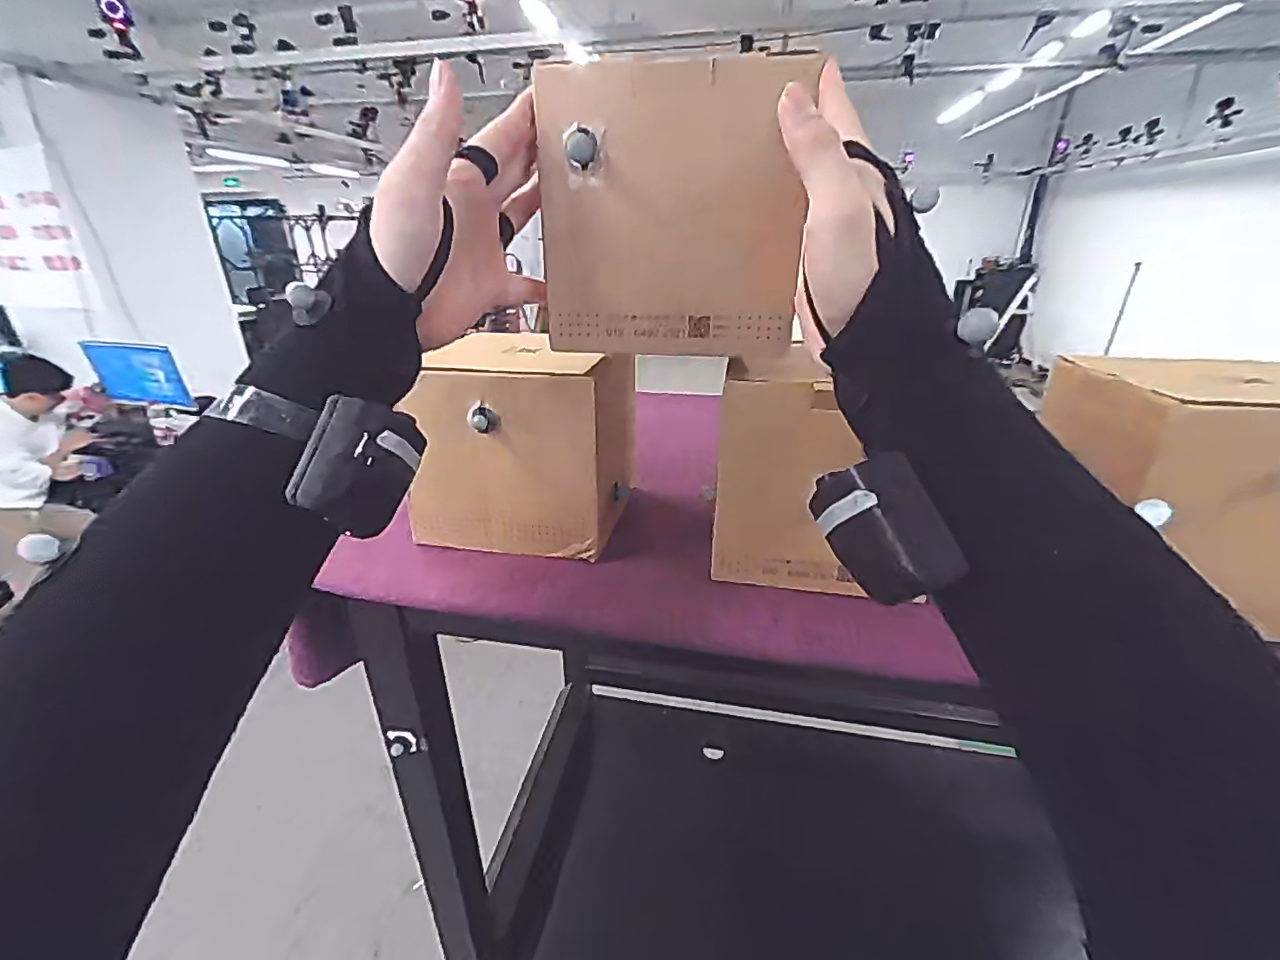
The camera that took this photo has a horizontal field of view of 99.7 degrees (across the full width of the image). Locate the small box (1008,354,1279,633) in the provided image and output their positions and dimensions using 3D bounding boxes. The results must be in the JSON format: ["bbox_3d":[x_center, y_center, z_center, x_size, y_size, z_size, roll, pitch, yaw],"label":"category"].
[{"bbox_3d":[0.432,0.002,0.425,0.179,0.176,0.168,4,22,11],"label":"small box"}]

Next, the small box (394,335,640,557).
[{"bbox_3d":[-0.102,-0.041,0.522,0.179,0.176,0.168,6,24,9],"label":"small box"}]

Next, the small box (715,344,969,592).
[{"bbox_3d":[0.156,-0.021,0.476,0.168,0.176,0.179,4,23,10],"label":"small box"}]
